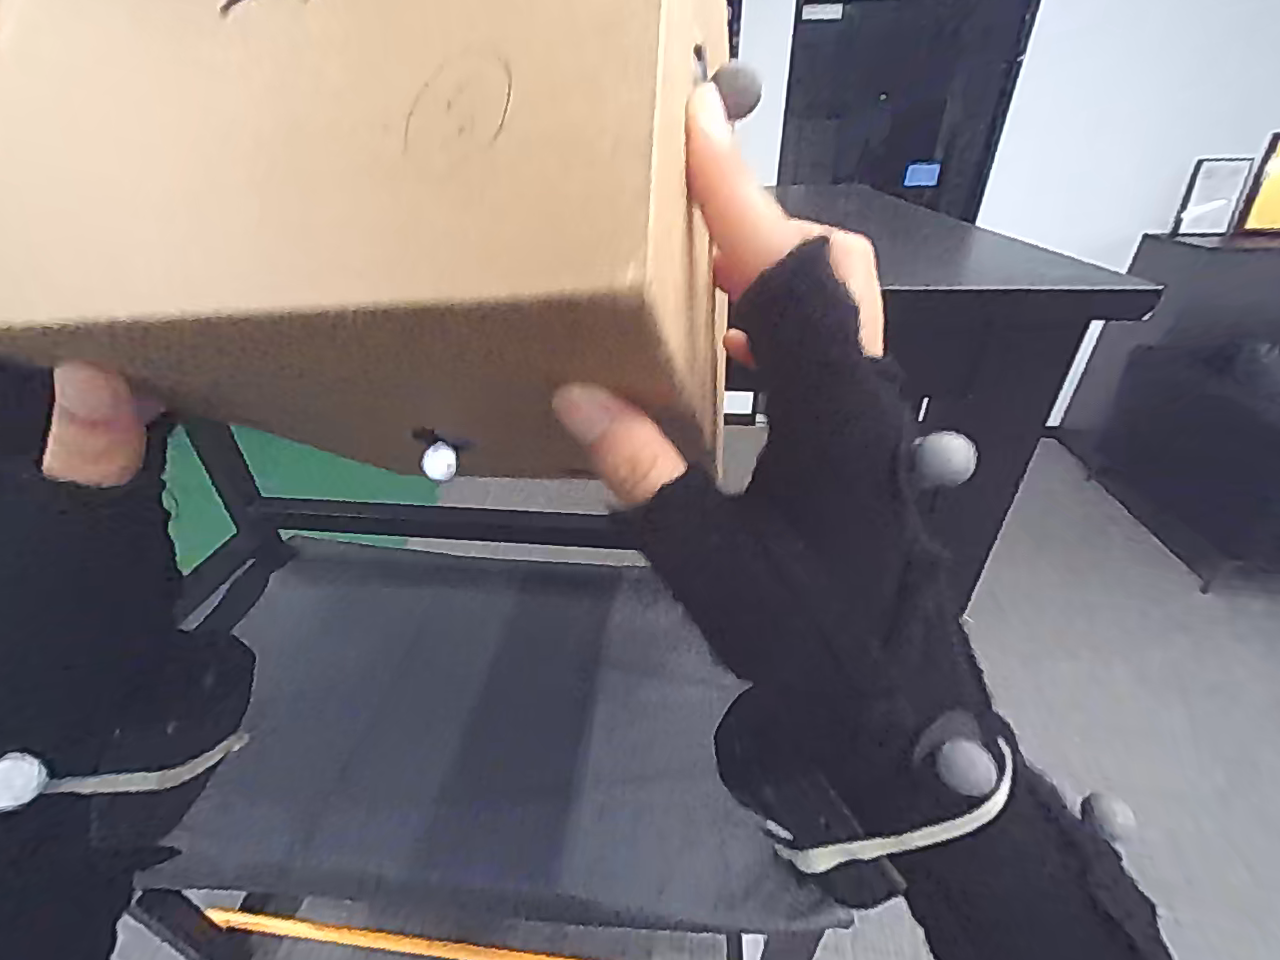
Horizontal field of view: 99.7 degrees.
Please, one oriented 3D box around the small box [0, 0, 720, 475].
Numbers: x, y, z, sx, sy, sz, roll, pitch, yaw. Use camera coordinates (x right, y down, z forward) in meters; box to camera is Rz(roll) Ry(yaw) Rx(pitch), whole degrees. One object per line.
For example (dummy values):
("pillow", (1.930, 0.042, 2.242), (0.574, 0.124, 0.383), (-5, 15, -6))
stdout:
("small box", (-0.060, -0.101, 0.199), (0.168, 0.179, 0.176), (2, -11, 12))
